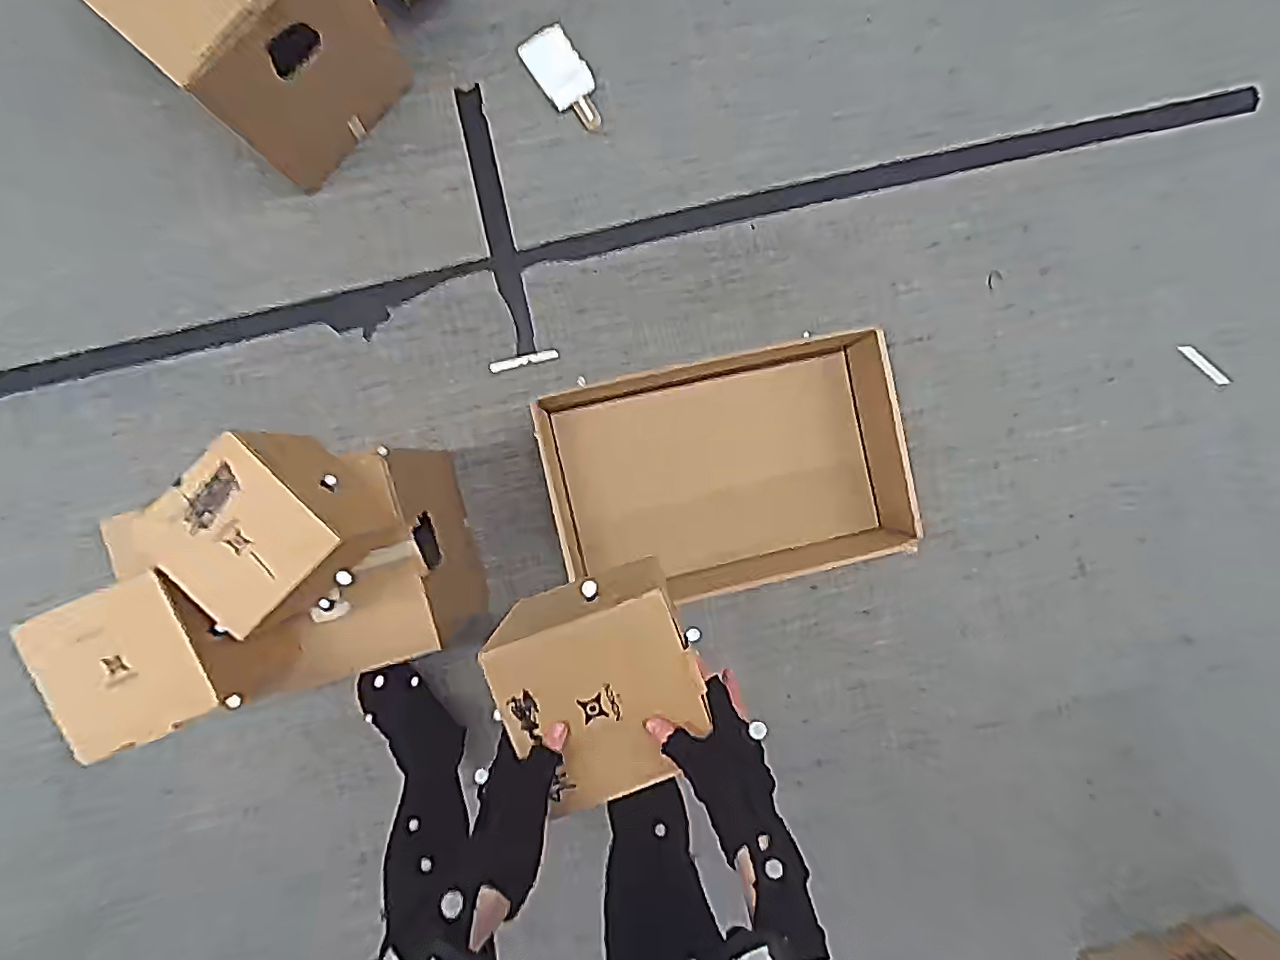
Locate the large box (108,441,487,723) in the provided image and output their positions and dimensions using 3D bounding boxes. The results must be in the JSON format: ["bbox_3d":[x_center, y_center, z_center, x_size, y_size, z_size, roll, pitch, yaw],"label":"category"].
[{"bbox_3d":[-0.526,0.142,0.920,0.408,0.320,0.320,-16,94,-3],"label":"large box"}]

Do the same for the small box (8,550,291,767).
[{"bbox_3d":[-0.586,0.206,0.676,0.168,0.176,0.179,-24,92,-4],"label":"small box"}]

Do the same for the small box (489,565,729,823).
[{"bbox_3d":[-0.029,0.198,0.557,0.179,0.176,0.168,-20,90,-1],"label":"small box"}]
